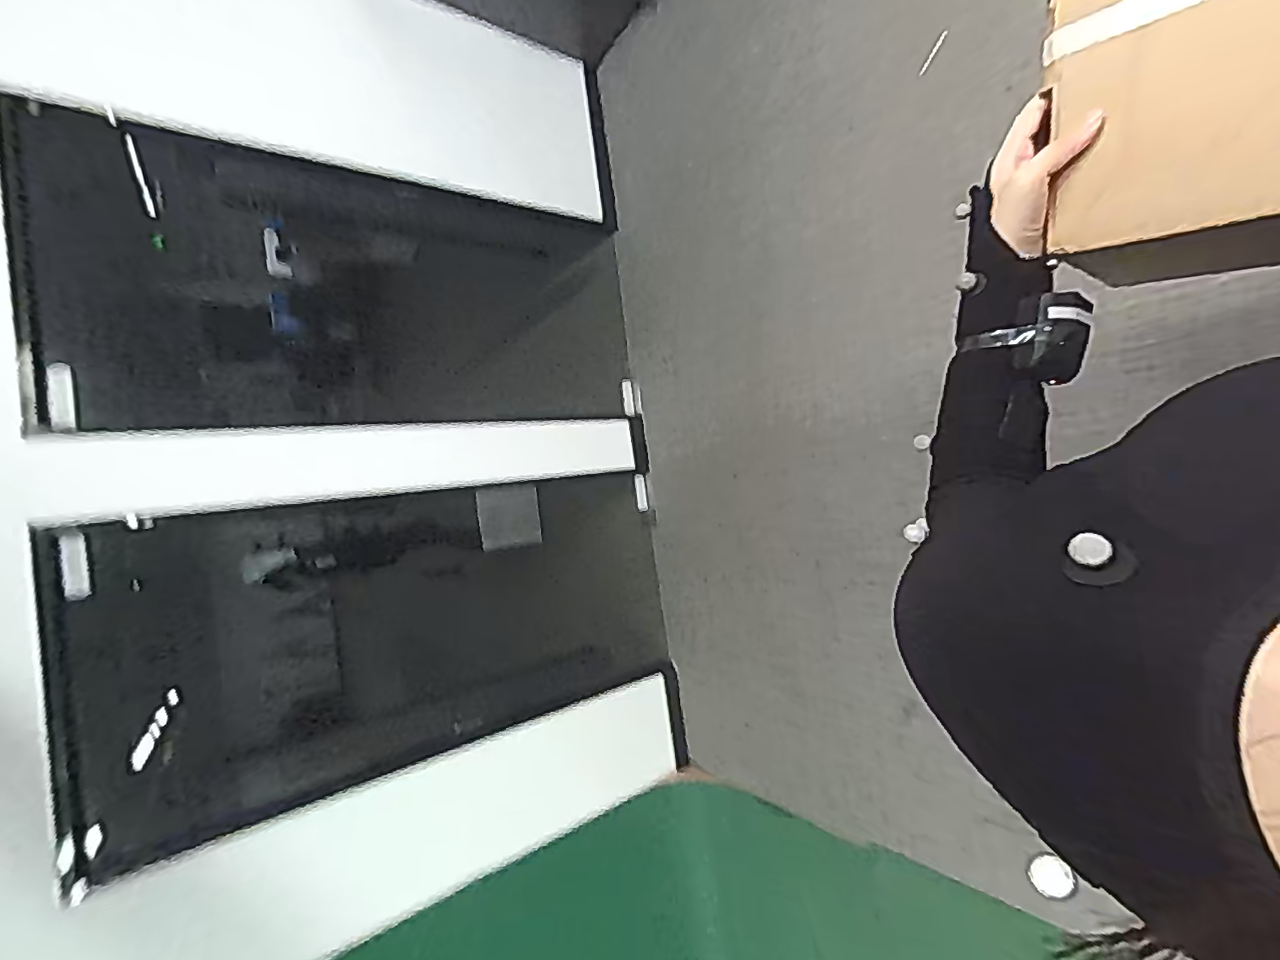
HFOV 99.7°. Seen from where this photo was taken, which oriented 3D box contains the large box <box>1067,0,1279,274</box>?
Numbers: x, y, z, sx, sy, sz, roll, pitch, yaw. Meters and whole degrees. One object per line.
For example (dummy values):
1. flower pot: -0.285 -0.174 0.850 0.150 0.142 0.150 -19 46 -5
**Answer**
1. large box: 0.573 -0.355 0.370 0.408 0.320 0.320 6 104 46
